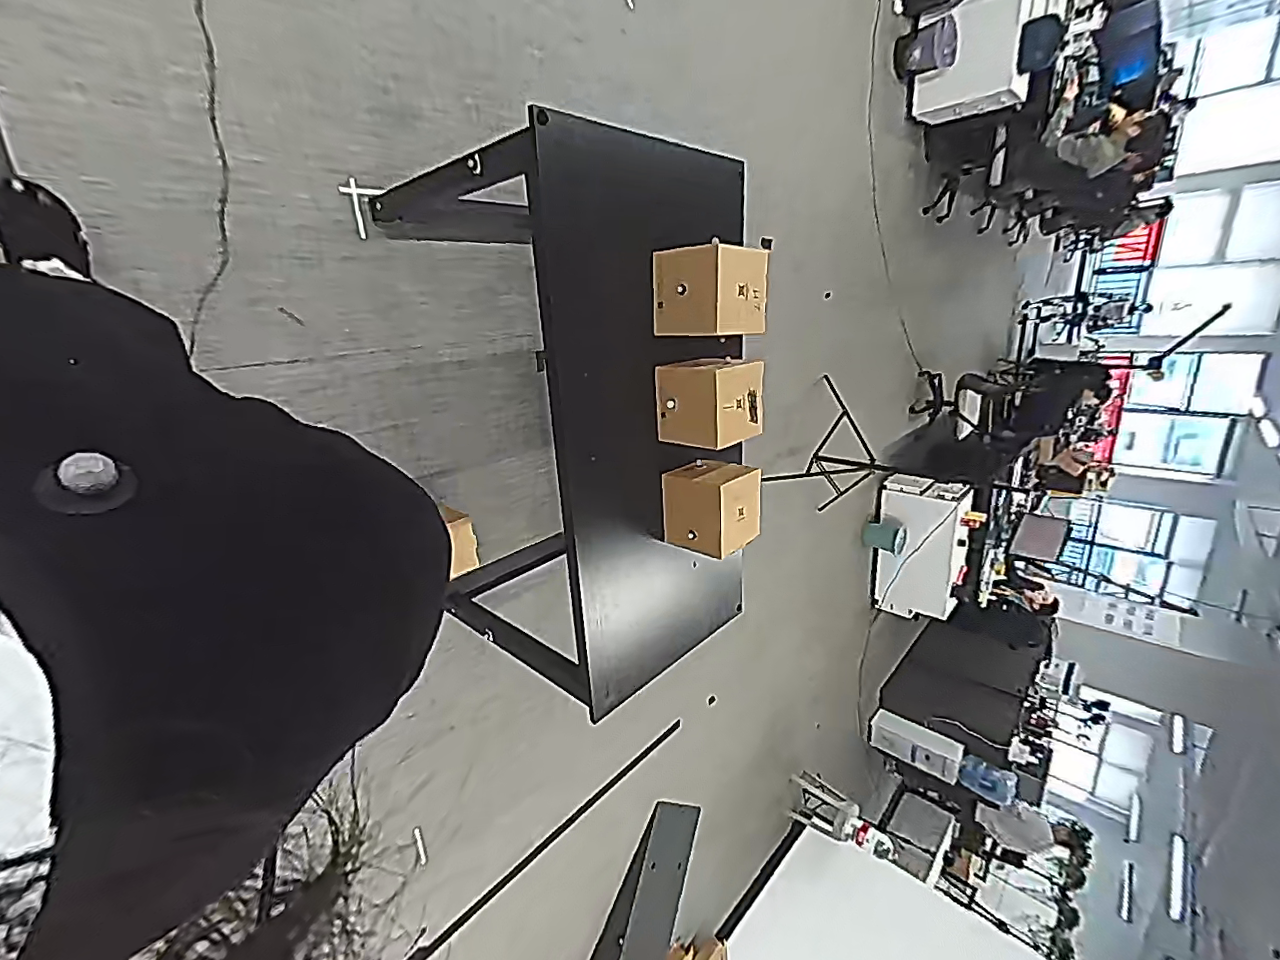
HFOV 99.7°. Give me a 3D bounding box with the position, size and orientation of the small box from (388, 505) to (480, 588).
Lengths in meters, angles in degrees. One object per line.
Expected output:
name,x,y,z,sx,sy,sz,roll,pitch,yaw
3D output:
small box,-0.593,0.183,1.559,0.179,0.176,0.168,-22,115,-43

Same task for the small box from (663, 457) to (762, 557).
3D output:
small box,0.168,0.056,1.267,0.168,0.176,0.179,-22,114,-44

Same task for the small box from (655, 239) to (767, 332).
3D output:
small box,0.144,-0.395,1.125,0.179,0.176,0.168,-17,113,-44

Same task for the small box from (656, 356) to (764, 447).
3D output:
small box,0.154,-0.180,1.189,0.179,0.176,0.168,-21,114,-42
